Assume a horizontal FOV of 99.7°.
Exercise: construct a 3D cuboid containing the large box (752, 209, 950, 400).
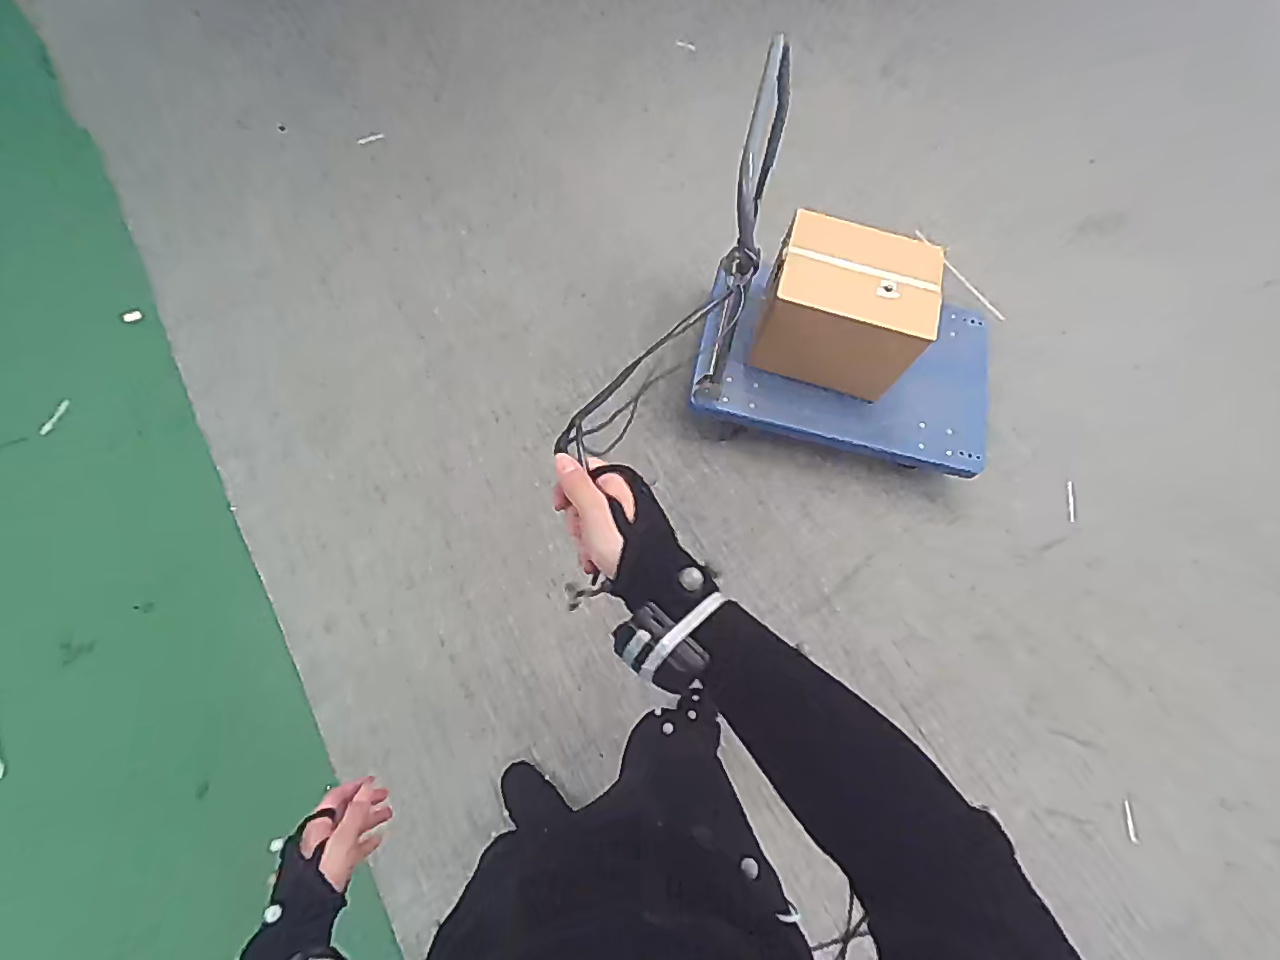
[{"bbox_3d":[0.568,-0.473,1.502,0.408,0.320,0.320,17,69,2],"label":"large box"}]
